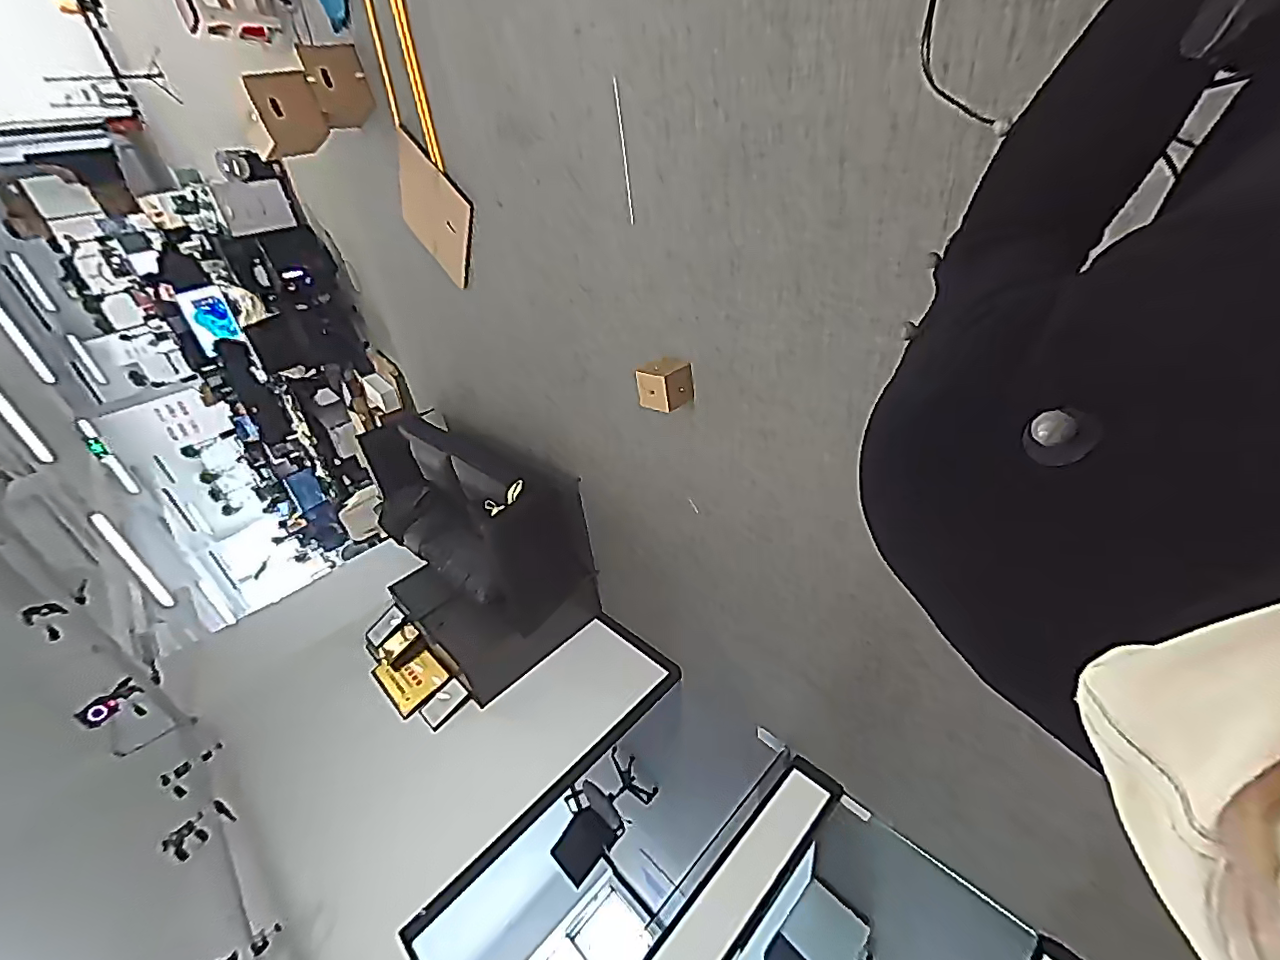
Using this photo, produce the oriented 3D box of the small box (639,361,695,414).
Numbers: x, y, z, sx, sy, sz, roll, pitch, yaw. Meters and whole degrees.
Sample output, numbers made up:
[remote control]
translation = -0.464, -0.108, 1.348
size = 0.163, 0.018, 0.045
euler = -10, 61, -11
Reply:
[small box]
translation = 0.124, -0.407, 2.348
size = 0.179, 0.176, 0.168
euler = 22, 132, 43
